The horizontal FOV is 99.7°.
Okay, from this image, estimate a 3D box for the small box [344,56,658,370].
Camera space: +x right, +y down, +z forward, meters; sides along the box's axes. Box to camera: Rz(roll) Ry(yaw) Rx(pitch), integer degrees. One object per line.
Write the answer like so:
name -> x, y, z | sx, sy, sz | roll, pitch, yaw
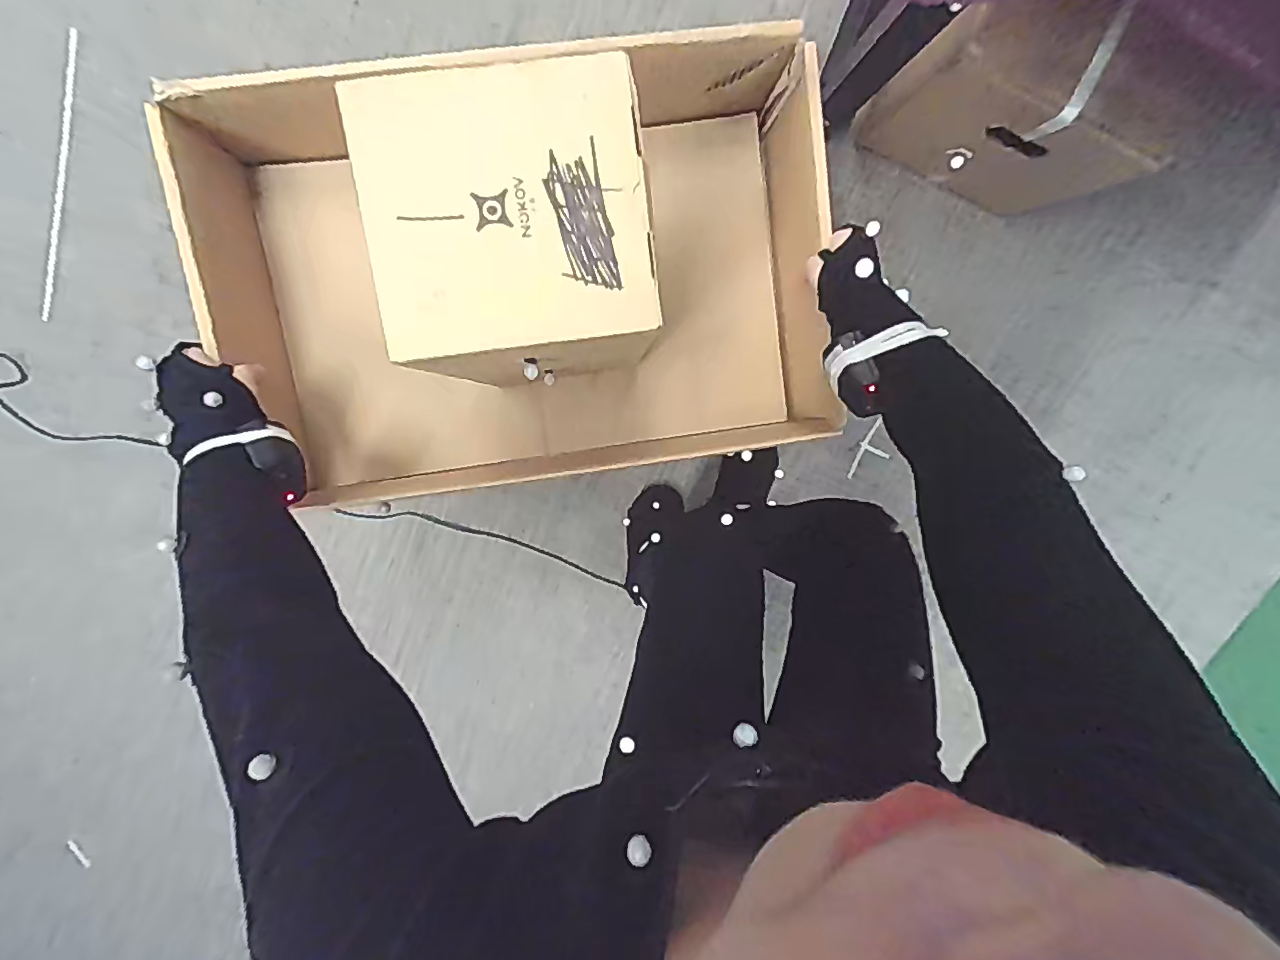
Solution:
small box -> -0.088, -0.181, 0.418 | 0.179, 0.176, 0.168 | -8, 98, -2
